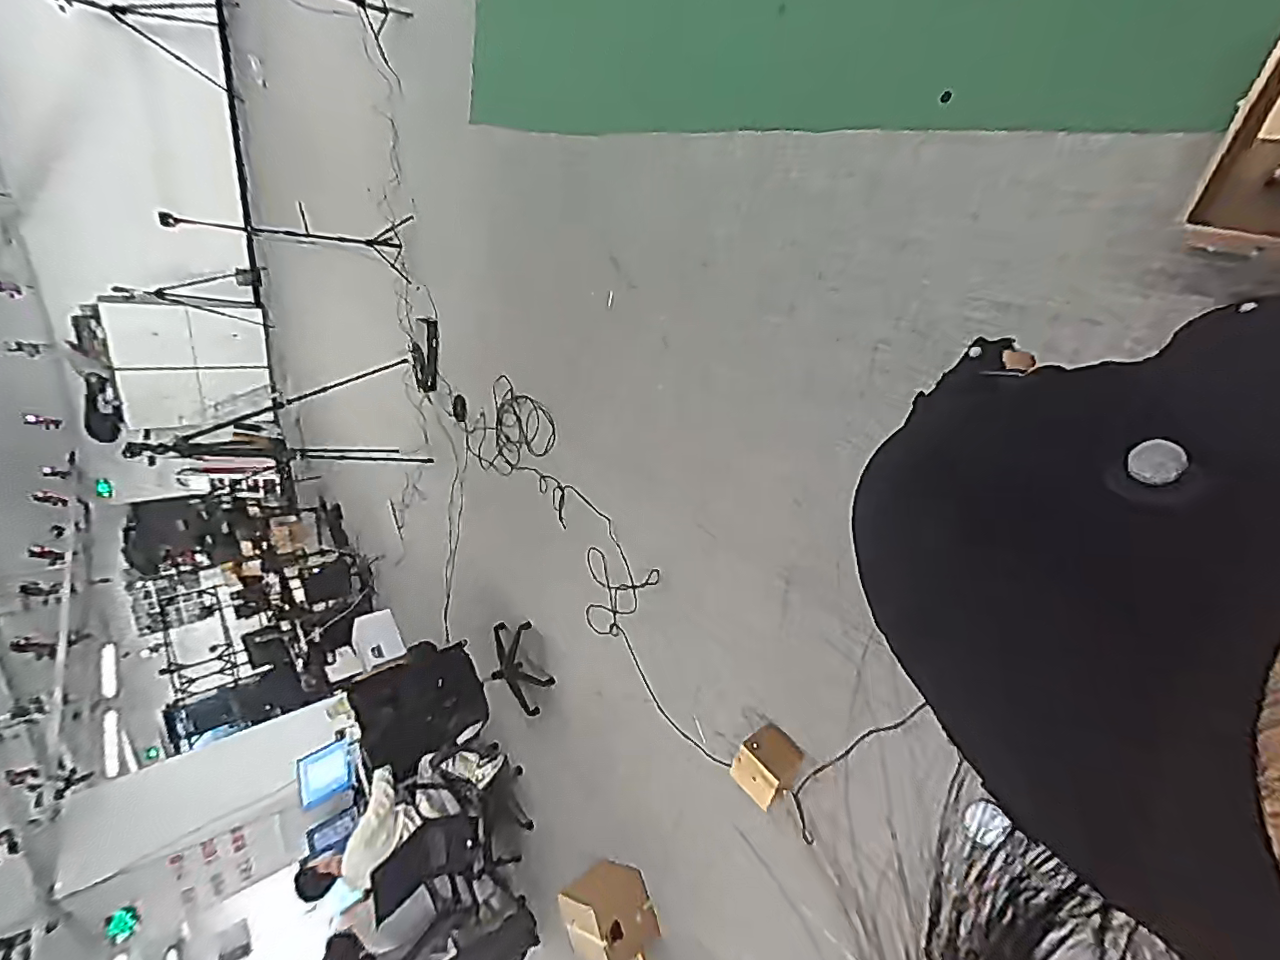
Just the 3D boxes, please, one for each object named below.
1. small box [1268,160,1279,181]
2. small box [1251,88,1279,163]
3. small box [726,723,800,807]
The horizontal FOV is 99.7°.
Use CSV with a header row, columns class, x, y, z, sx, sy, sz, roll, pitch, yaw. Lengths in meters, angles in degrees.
class,x,y,z,sx,sy,sz,roll,pitch,yaw
small box,1.058,-0.539,0.774,0.168,0.176,0.179,32,123,40
small box,0.931,-0.503,0.675,0.168,0.176,0.179,33,122,38
small box,0.446,1.019,1.951,0.179,0.176,0.168,35,124,39
